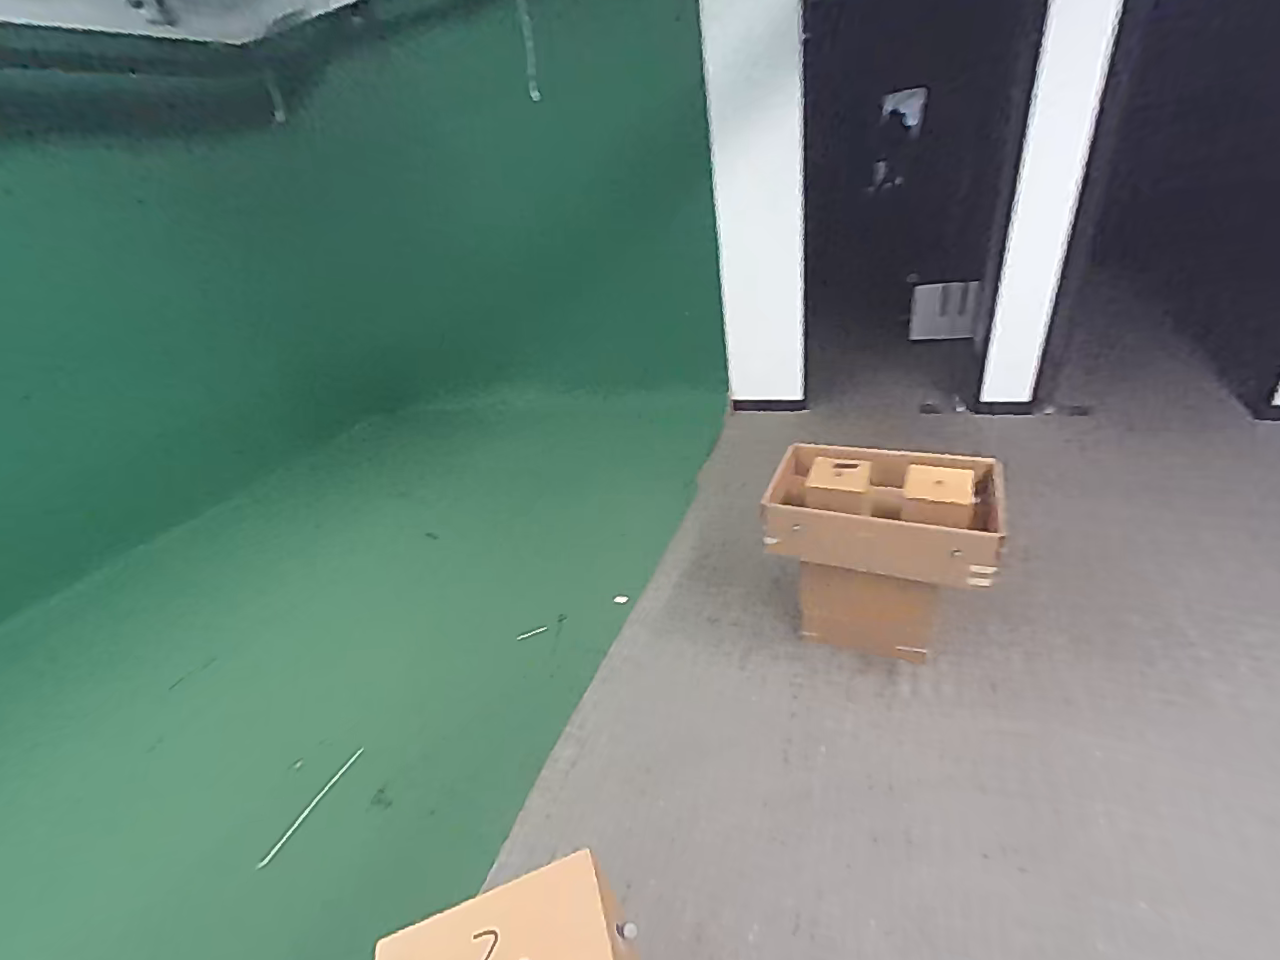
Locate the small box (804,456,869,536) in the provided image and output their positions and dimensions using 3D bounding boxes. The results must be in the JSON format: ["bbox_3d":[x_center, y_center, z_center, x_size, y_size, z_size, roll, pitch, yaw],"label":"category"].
[{"bbox_3d":[0.606,0.047,1.668,0.168,0.176,0.179,6,36,26],"label":"small box"}]
